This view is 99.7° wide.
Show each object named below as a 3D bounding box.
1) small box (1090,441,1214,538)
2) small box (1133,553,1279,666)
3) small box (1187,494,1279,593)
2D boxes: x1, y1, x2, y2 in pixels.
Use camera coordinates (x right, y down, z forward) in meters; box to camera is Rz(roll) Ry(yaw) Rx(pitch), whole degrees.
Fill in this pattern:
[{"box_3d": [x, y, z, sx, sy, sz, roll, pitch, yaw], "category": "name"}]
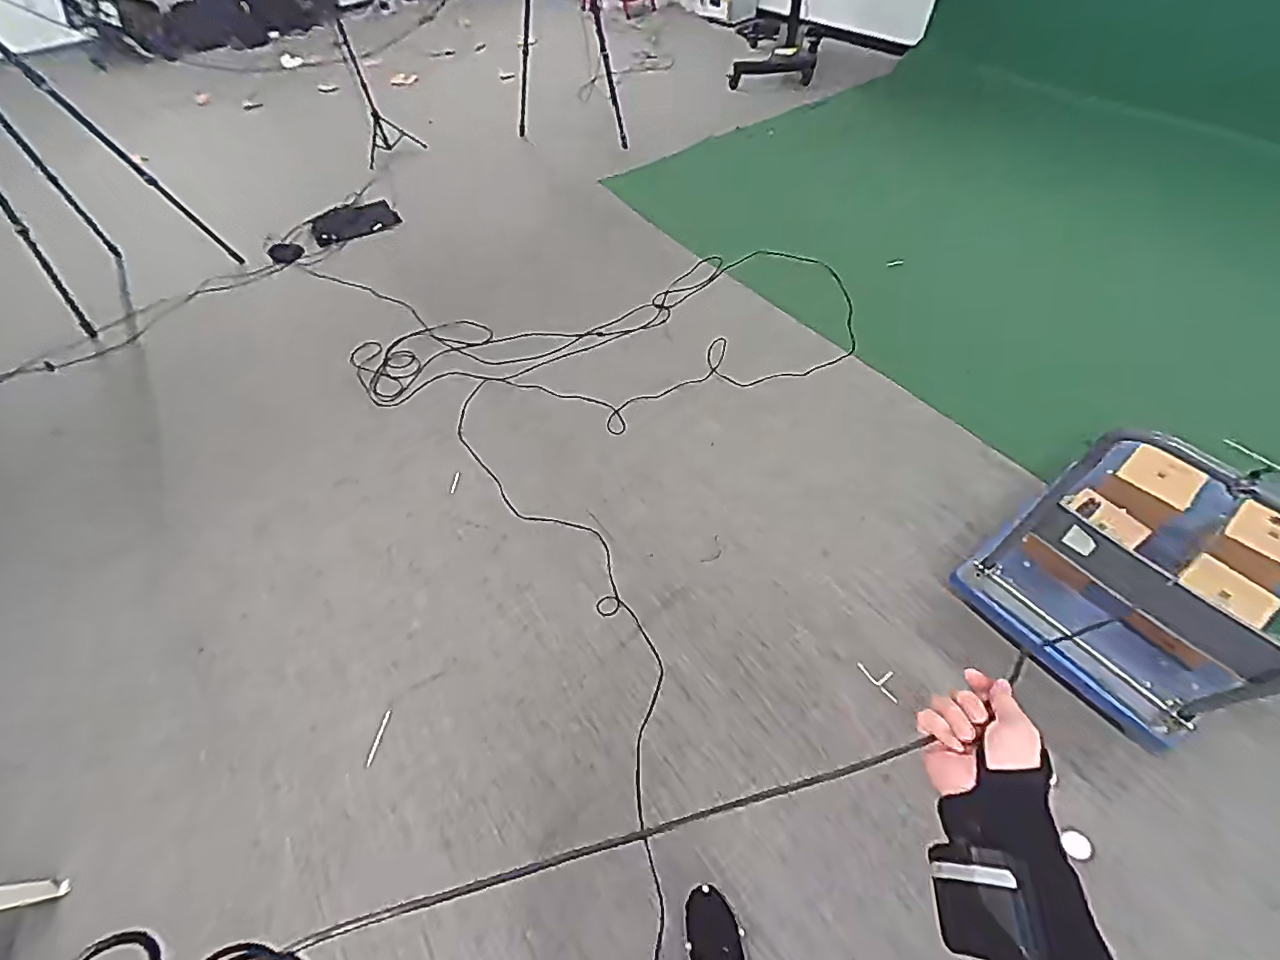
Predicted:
[{"box_3d": [1.417, 0.031, 1.513, 0.179, 0.176, 0.168, -36, 59, -20], "category": "small box"}, {"box_3d": [1.363, 0.315, 1.306, 0.179, 0.176, 0.168, -32, 57, -17], "category": "small box"}, {"box_3d": [1.580, 0.176, 1.388, 0.179, 0.176, 0.168, -36, 58, -19], "category": "small box"}]
